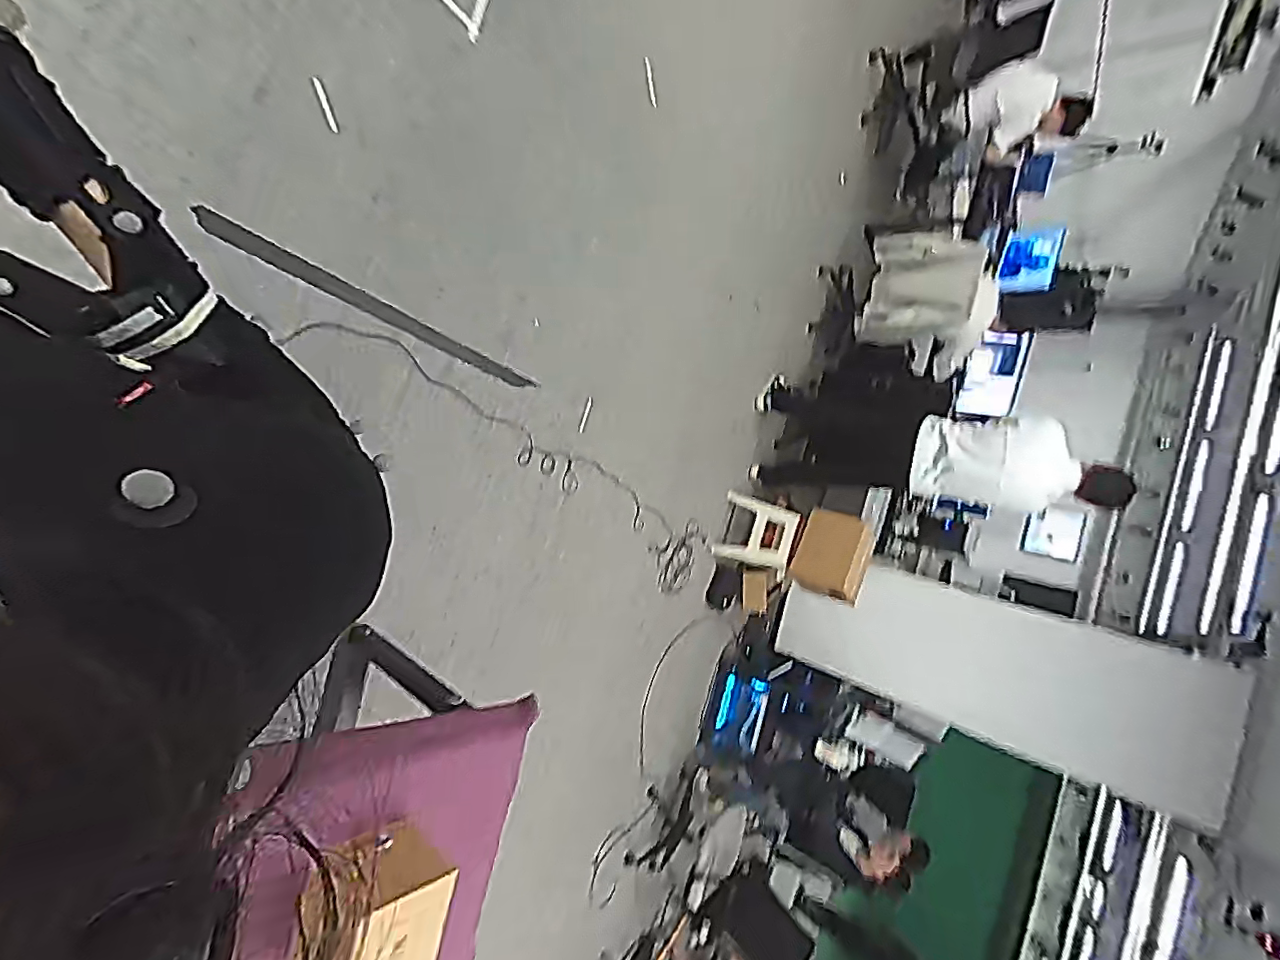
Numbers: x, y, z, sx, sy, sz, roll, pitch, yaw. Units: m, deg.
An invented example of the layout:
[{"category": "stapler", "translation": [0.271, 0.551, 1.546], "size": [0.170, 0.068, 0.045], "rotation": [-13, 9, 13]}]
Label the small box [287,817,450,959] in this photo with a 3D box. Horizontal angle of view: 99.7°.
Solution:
[{"category": "small box", "translation": [-0.446, 0.702, 0.884], "size": [0.168, 0.176, 0.179], "rotation": [14, 89, -54]}]
